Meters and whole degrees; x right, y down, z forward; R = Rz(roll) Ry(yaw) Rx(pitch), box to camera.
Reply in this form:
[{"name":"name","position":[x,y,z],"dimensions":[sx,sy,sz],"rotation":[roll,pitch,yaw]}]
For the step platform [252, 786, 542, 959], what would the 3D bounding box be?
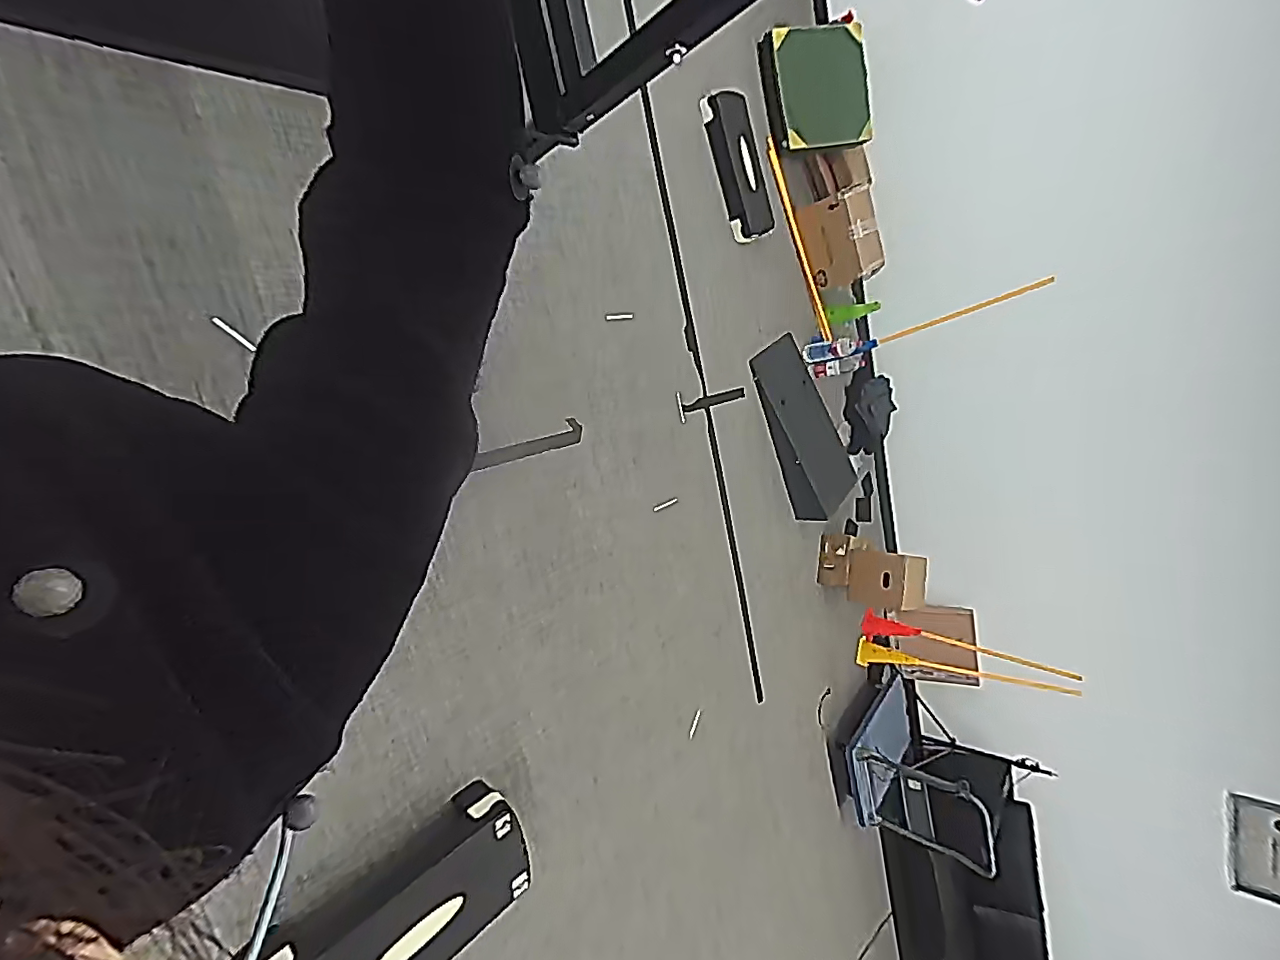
[{"name":"step platform","position":[-0.583,1.131,1.418],"dimensions":[0.684,0.204,0.286],"rotation":[-14,98,-46]}]
